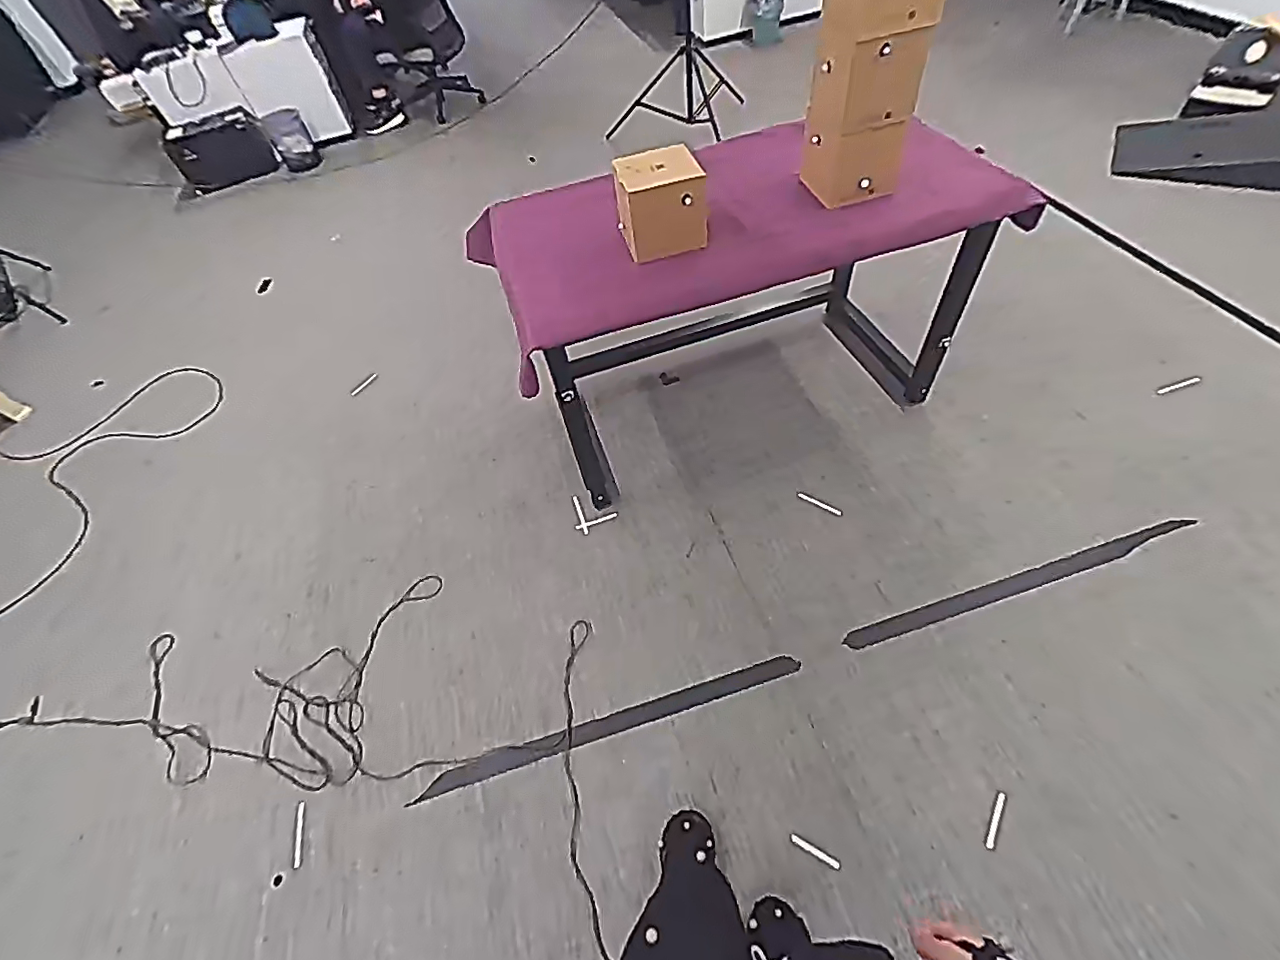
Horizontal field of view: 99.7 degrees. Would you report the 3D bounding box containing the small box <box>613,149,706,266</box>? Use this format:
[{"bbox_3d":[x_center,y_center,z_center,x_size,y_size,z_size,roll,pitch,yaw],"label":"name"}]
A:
[{"bbox_3d":[0.047,-0.627,1.251,0.179,0.176,0.168,-16,53,-2],"label":"small box"}]

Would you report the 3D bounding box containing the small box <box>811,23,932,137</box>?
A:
[{"bbox_3d":[0.480,-0.867,1.156,0.168,0.176,0.179,-14,53,-1],"label":"small box"}]

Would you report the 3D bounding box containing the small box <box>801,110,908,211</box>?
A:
[{"bbox_3d":[0.499,-0.775,1.291,0.168,0.176,0.179,-16,54,-3],"label":"small box"}]

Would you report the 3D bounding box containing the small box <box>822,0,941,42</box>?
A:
[{"bbox_3d":[0.463,-0.956,1.020,0.168,0.176,0.179,-15,53,-1],"label":"small box"}]
